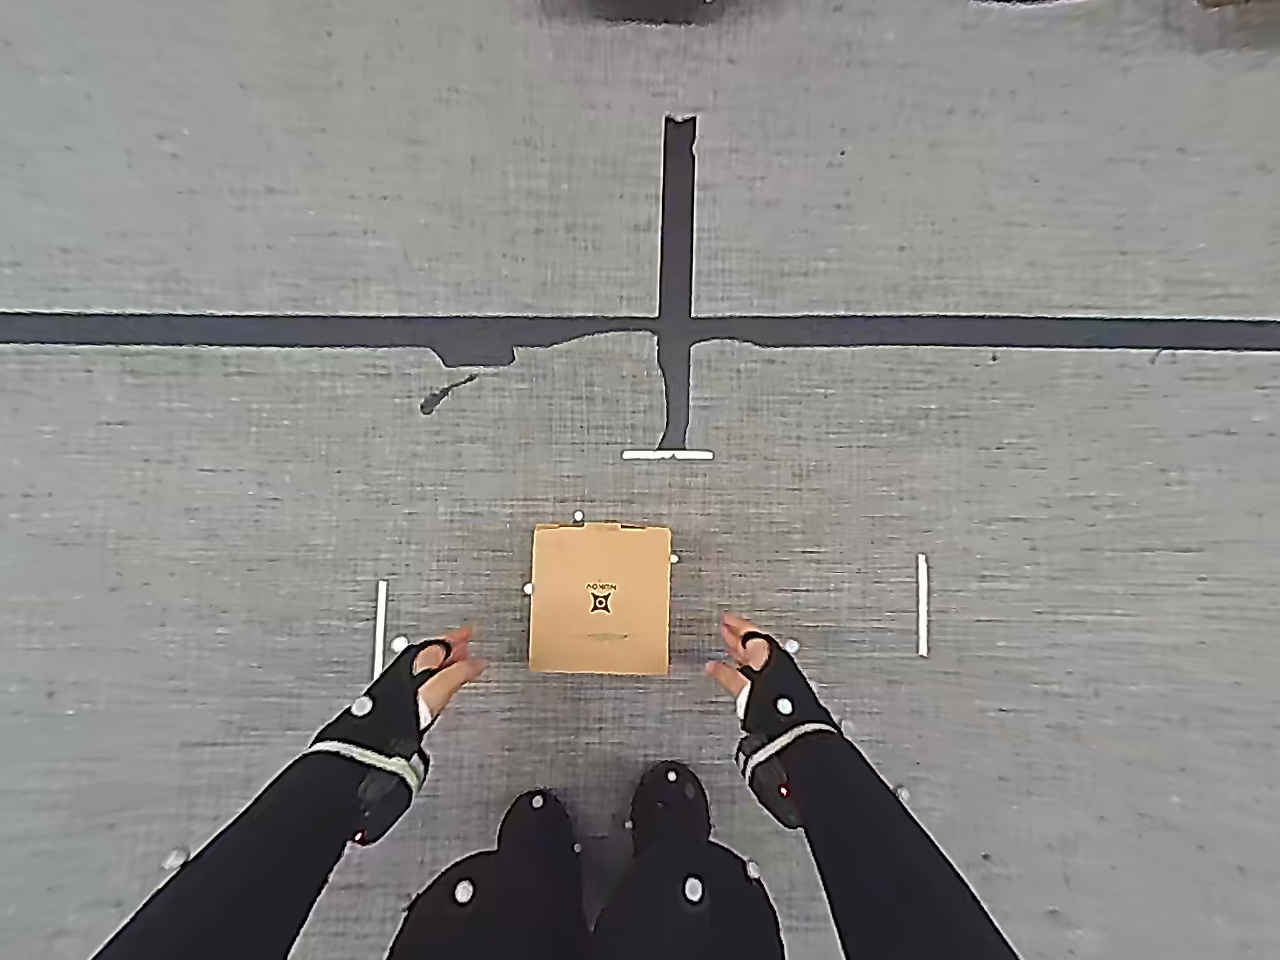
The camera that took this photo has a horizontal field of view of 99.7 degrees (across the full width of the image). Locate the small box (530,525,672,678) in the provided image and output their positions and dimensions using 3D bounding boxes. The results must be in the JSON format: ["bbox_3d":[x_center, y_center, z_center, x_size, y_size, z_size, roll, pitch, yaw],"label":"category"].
[{"bbox_3d":[-0.047,0.150,0.719,0.168,0.176,0.179,1,87,-1],"label":"small box"}]
